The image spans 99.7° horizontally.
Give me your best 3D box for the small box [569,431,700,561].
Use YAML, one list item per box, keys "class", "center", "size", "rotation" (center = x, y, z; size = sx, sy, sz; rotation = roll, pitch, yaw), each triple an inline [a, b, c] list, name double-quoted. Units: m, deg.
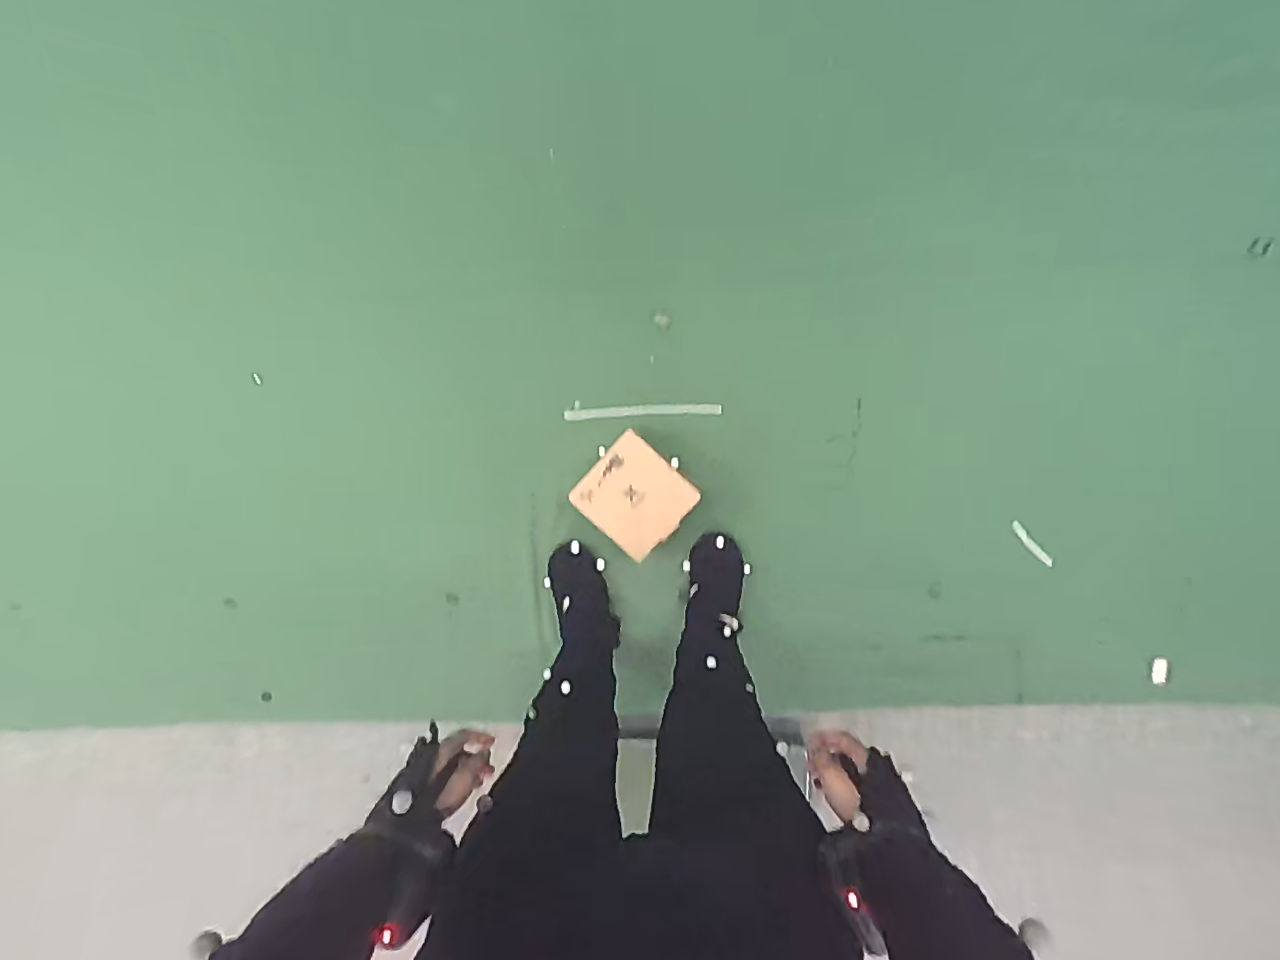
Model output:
- class: "small box"
  center: [-0.006, 0.019, 1.026]
  size: [0.179, 0.176, 0.168]
  rotation: [43, 96, -3]
